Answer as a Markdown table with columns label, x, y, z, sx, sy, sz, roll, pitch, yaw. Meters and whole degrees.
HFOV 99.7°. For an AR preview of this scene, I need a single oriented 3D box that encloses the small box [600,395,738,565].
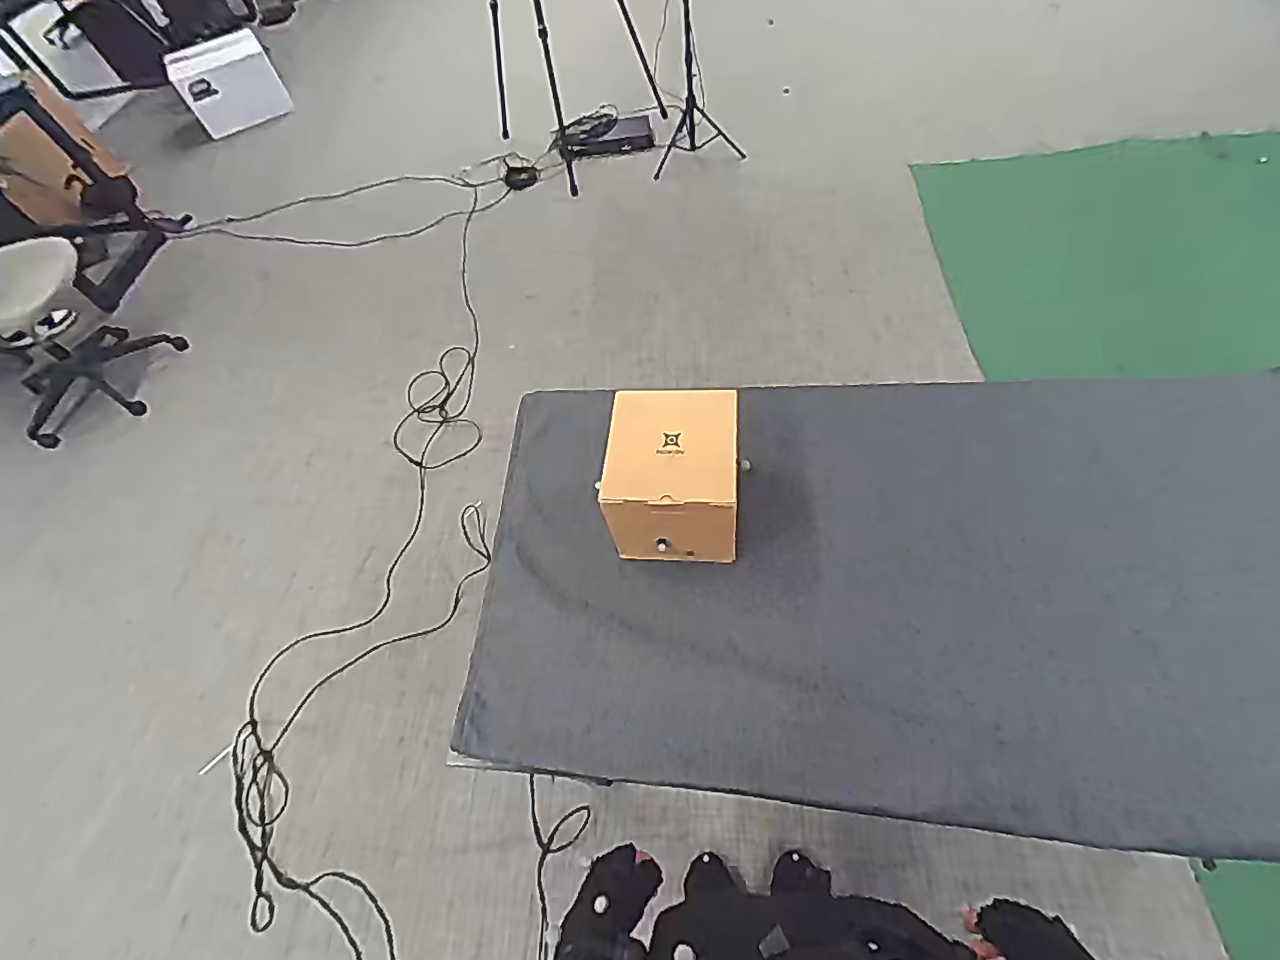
| label | x | y | z | sx | sy | sz | roll | pitch | yaw |
| --- | --- | --- | --- | --- | --- | --- | --- | --- | --- |
| small box | 0.048 | 0.002 | 0.750 | 0.168 | 0.176 | 0.179 | 1 | 59 | 9 |
